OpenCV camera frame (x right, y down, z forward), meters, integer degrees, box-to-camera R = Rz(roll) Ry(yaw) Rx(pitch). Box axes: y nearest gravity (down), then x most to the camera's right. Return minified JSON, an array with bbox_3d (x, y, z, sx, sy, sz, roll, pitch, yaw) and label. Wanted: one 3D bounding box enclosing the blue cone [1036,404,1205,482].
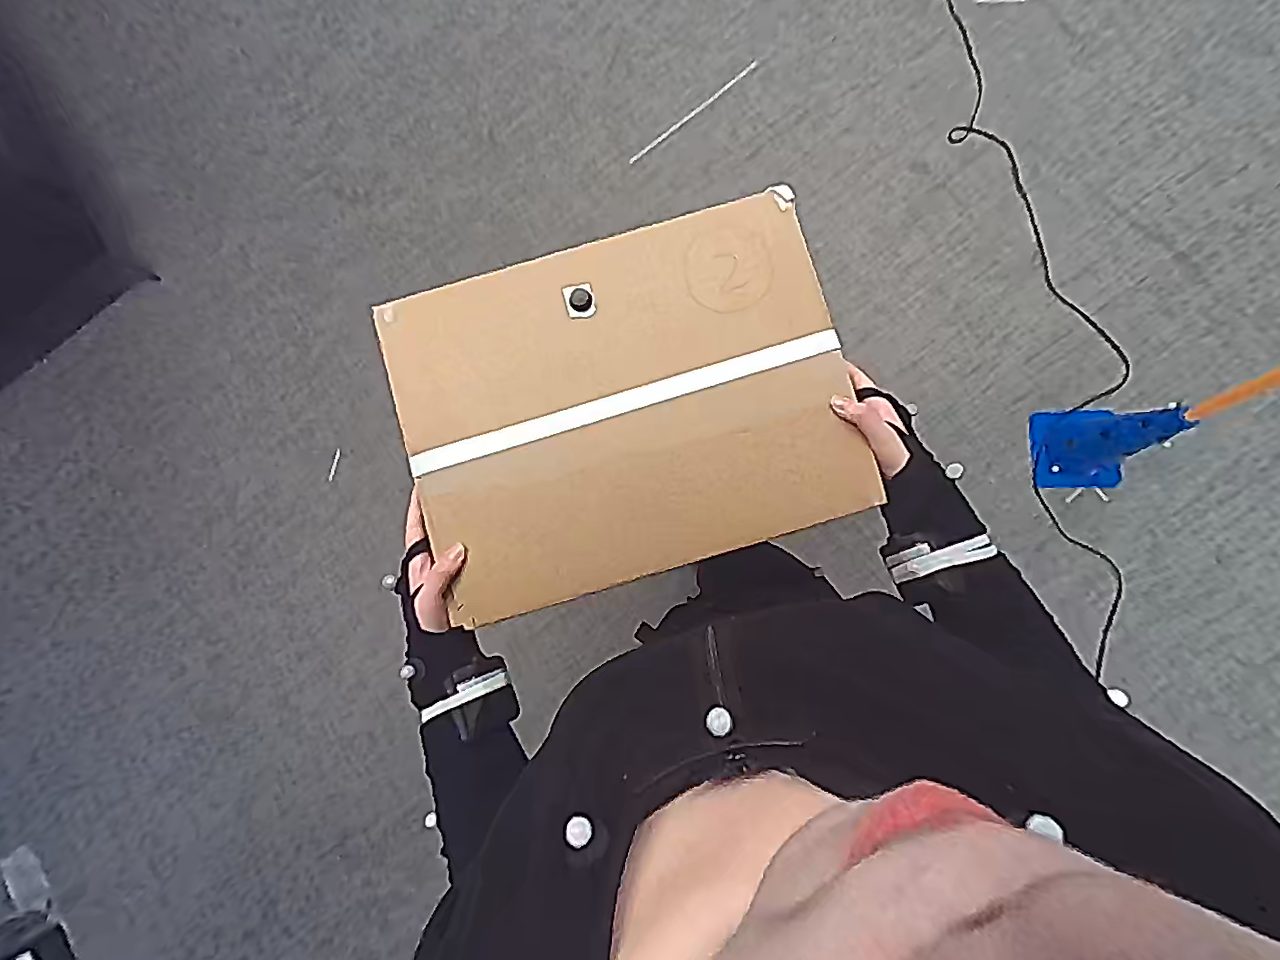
[{"bbox_3d":[1.083,-0.110,1.196,0.192,0.380,0.193,-3,84,9],"label":"blue cone"}]
